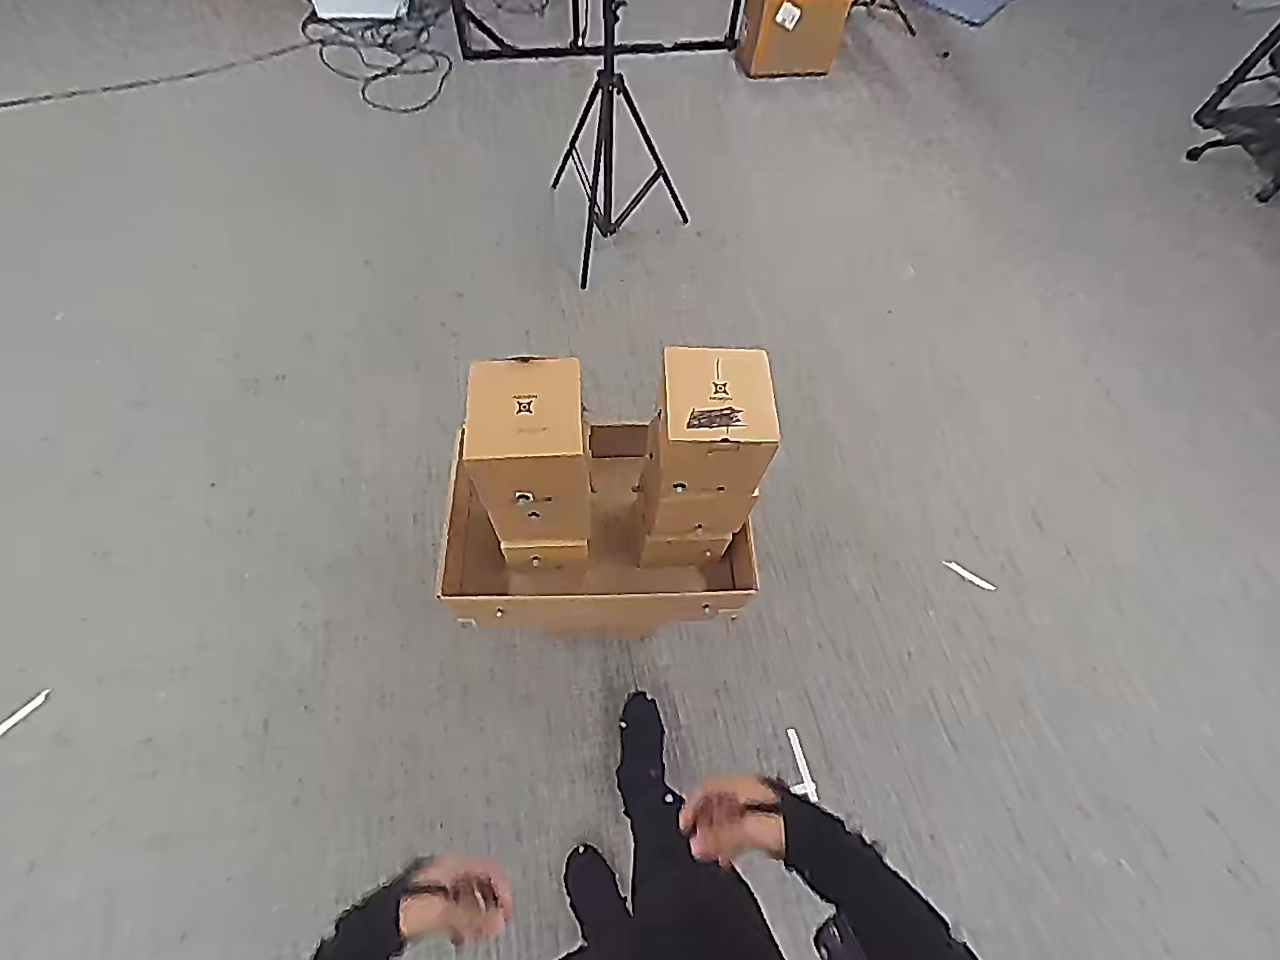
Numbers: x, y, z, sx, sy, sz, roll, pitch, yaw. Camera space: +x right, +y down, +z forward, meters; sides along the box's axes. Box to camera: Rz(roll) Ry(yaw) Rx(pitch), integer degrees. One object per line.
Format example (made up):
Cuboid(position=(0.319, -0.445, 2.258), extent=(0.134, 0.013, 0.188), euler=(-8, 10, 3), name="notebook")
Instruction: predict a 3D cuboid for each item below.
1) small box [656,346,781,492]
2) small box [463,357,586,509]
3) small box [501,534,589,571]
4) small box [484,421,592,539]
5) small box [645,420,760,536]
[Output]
Cuboid(position=(0.115, -0.091, 0.870), extent=(0.168, 0.176, 0.179), euler=(1, 62, -3), name="small box")
Cuboid(position=(-0.170, -0.071, 0.843), extent=(0.168, 0.176, 0.179), euler=(-3, 62, -5), name="small box")
Cuboid(position=(-0.192, 0.086, 1.131), extent=(0.168, 0.176, 0.179), euler=(-1, 62, -6), name="small box")
Cuboid(position=(-0.176, 0.004, 0.990), extent=(0.179, 0.176, 0.168), euler=(0, 63, -6), name="small box")
Cuboid(position=(0.106, -0.002, 1.010), extent=(0.179, 0.176, 0.168), euler=(-3, 63, -5), name="small box")
